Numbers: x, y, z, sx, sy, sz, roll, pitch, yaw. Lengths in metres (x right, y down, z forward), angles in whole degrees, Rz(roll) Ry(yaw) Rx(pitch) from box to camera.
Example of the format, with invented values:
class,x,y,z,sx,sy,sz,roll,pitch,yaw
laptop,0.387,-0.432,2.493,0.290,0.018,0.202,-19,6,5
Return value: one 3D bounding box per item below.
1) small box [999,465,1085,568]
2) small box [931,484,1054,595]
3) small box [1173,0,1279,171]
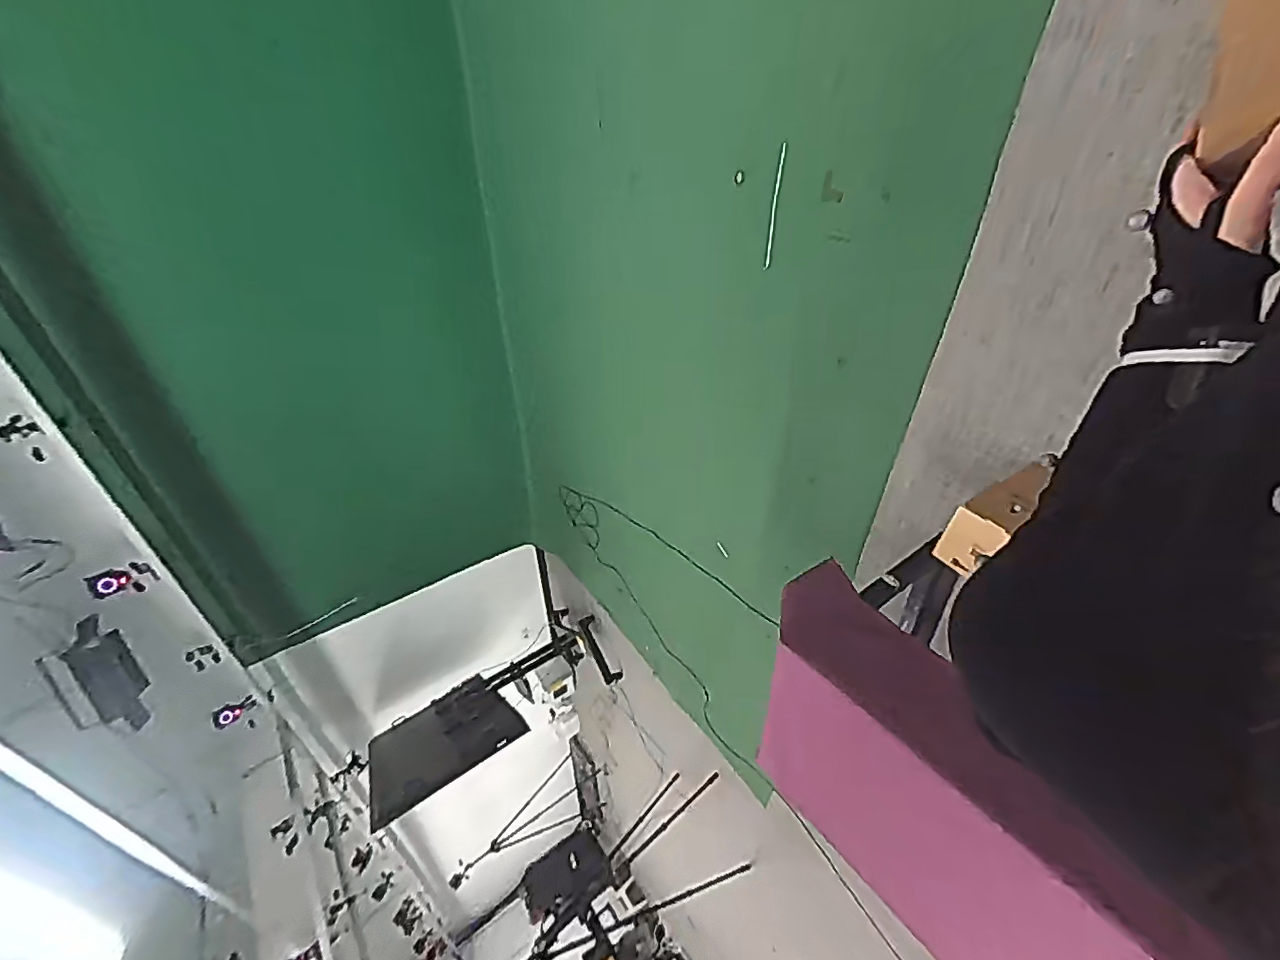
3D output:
class,x,y,z,sx,sy,sz,roll,pitch,yaw
small box,0.992,0.088,1.391,0.168,0.176,0.179,47,147,33
small box,0.856,0.137,1.311,0.168,0.176,0.179,44,143,36
small box,0.451,-0.322,0.309,0.168,0.176,0.179,17,170,42
